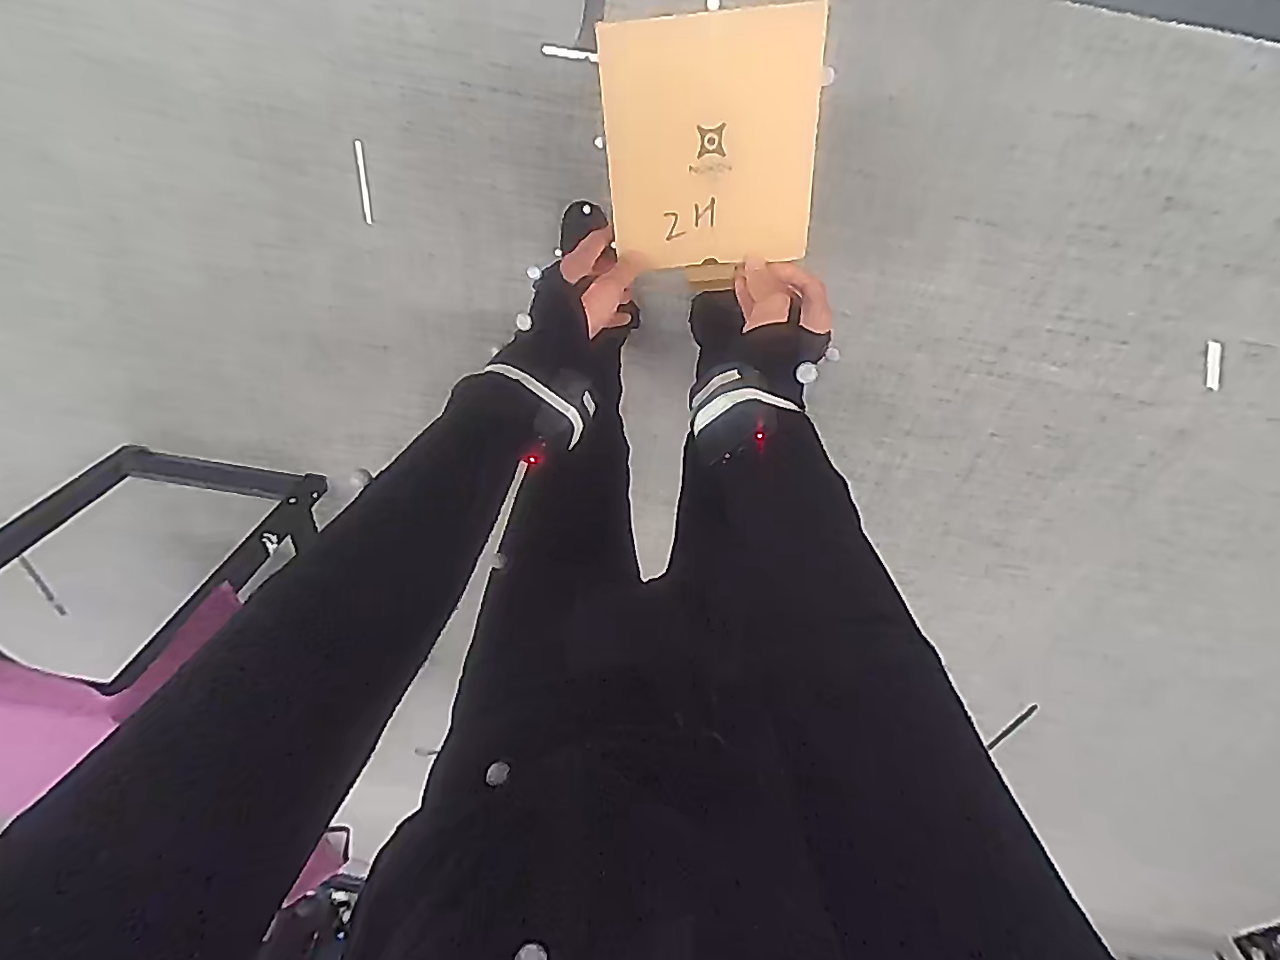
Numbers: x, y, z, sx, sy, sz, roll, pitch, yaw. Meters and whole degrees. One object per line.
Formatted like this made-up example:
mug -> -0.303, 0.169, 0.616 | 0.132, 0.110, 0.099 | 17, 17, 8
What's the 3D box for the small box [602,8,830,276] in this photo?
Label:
small box -> 0.064, -0.303, 0.495 | 0.168, 0.176, 0.179 | 0, 127, 7
